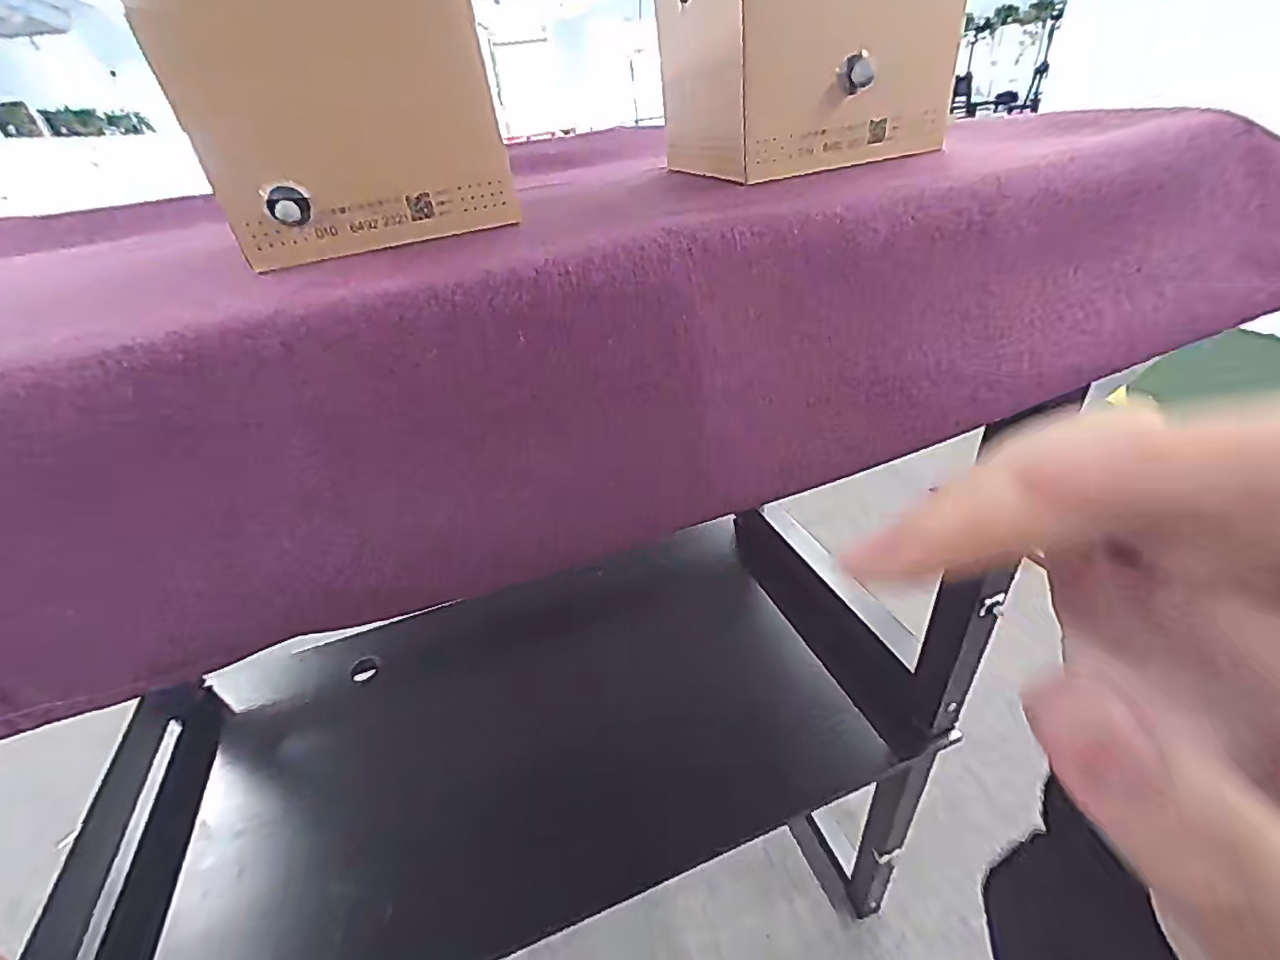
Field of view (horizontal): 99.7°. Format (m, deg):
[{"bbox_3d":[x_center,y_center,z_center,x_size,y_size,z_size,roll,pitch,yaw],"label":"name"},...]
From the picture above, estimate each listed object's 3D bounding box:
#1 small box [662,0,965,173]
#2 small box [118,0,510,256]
[{"bbox_3d":[0.118,-0.342,0.415,0.168,0.176,0.179,-15,35,-9],"label":"small box"},{"bbox_3d":[-0.198,-0.257,0.357,0.168,0.176,0.179,-19,36,-17],"label":"small box"}]
